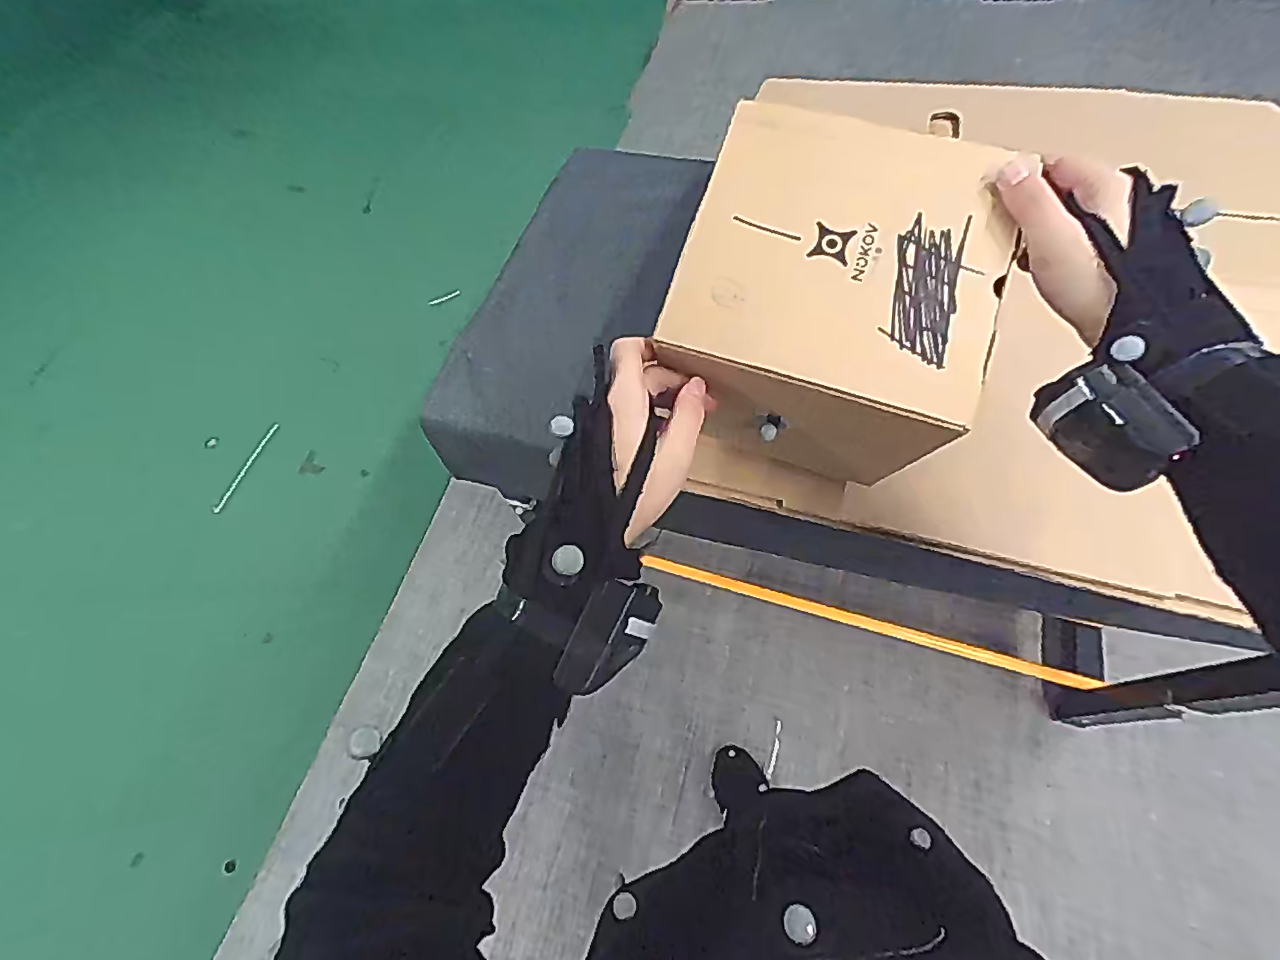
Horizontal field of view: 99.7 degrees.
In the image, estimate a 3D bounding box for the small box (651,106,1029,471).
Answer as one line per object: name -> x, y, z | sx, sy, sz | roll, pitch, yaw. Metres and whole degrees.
small box -> 0.123, -0.115, 0.387 | 0.179, 0.176, 0.168 | 18, 82, 10
